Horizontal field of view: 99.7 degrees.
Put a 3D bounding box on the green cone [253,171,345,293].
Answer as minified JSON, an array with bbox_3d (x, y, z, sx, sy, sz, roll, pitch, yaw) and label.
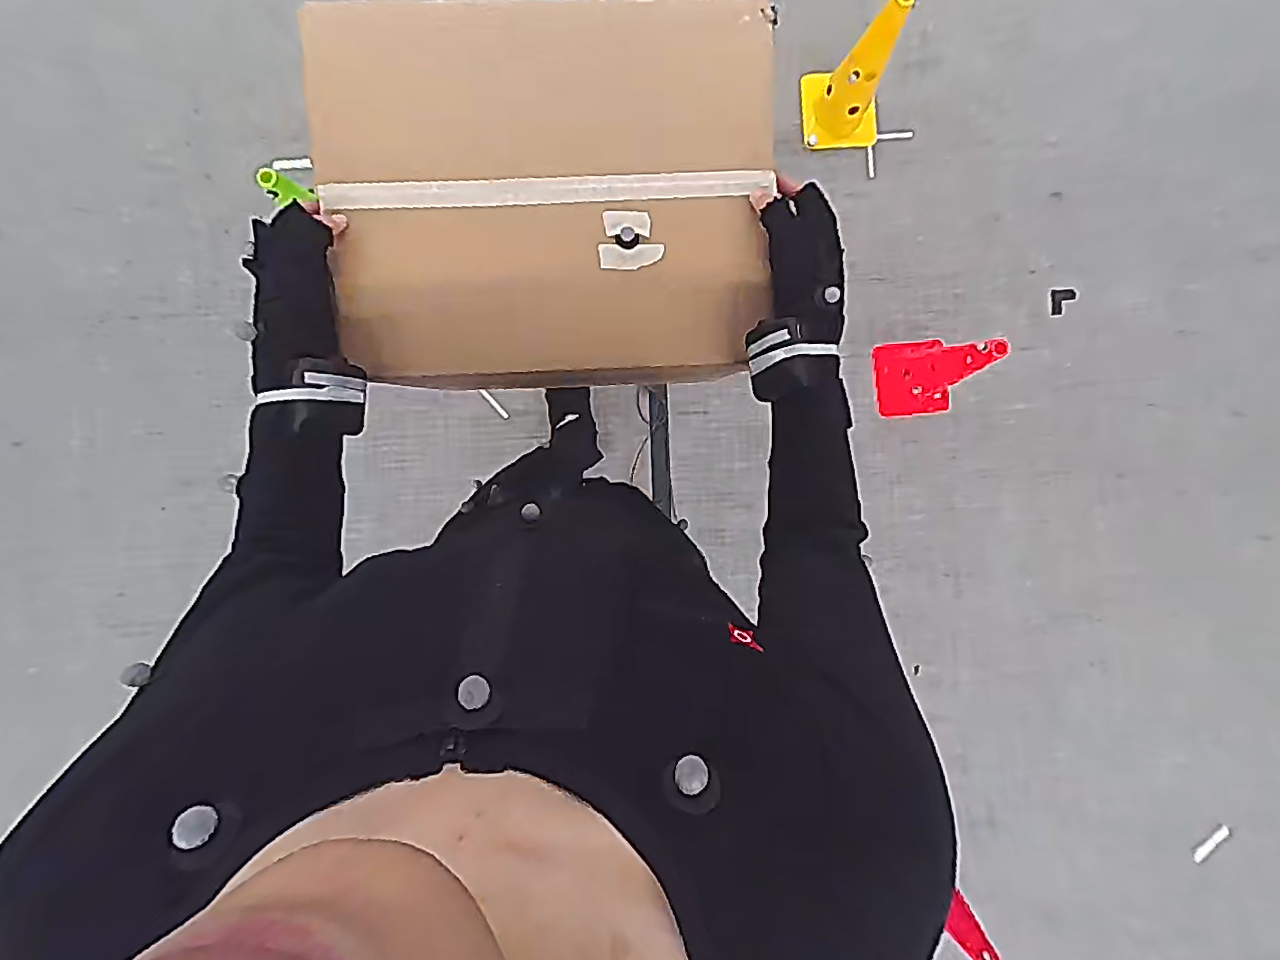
[{"bbox_3d":[-0.753,-0.610,1.259,0.202,0.368,0.200,-40,90,1],"label":"green cone"}]

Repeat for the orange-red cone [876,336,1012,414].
[{"bbox_3d":[0.749,-0.282,1.298,0.198,0.360,0.199,-5,89,-2],"label":"orange-red cone"}]

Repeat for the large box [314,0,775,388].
[{"bbox_3d":[-0.086,-0.284,0.639,0.408,0.320,0.320,-3,98,-3],"label":"large box"}]
